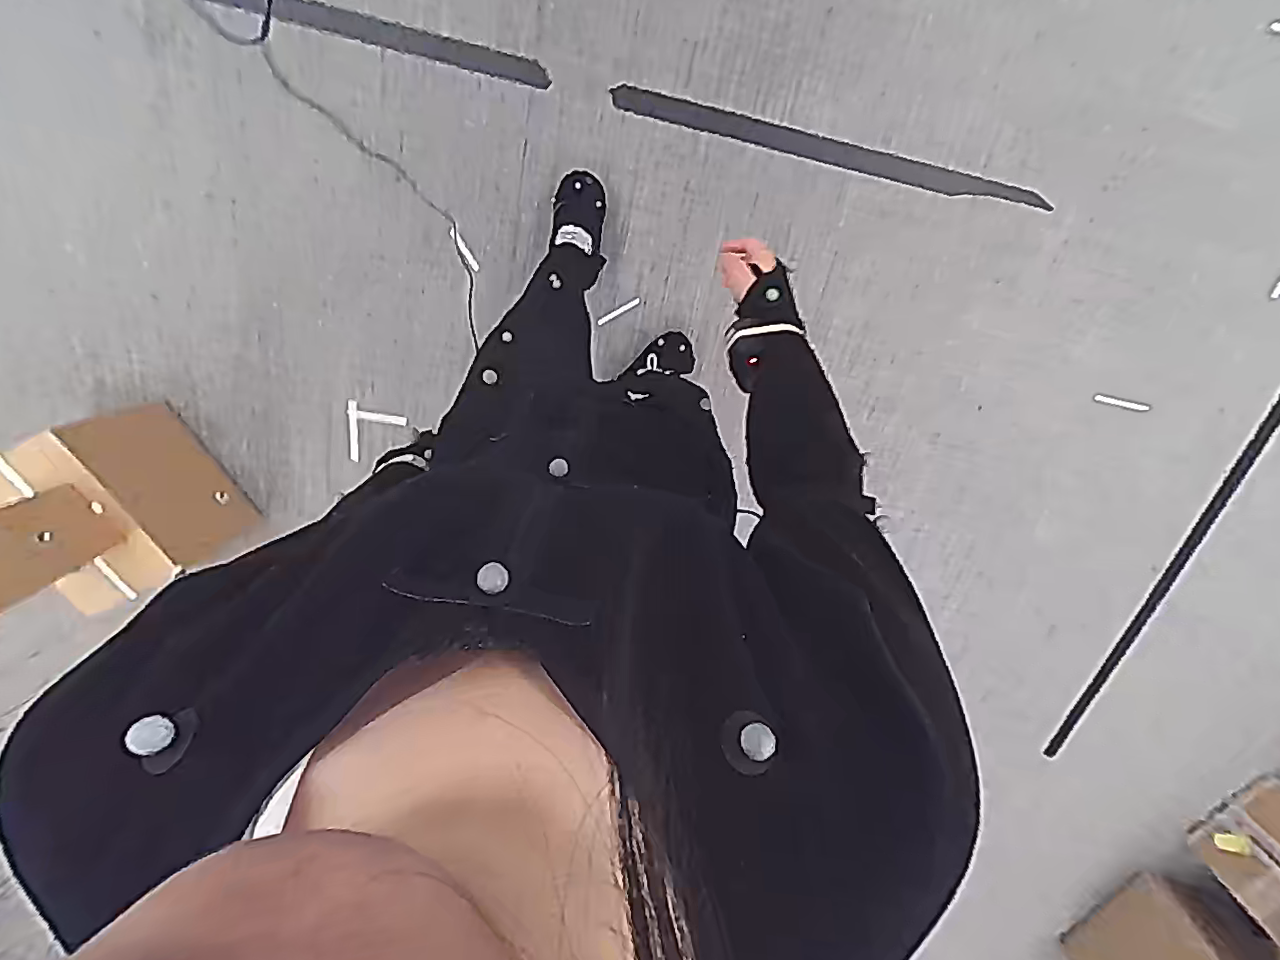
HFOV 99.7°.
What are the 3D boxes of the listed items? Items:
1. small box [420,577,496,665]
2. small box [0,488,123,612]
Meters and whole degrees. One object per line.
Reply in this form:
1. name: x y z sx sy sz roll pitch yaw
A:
1. small box: -0.531 0.411 1.597 0.168 0.176 0.179 14 111 -8
2. small box: -1.309 0.146 1.177 0.168 0.176 0.179 -28 108 9
